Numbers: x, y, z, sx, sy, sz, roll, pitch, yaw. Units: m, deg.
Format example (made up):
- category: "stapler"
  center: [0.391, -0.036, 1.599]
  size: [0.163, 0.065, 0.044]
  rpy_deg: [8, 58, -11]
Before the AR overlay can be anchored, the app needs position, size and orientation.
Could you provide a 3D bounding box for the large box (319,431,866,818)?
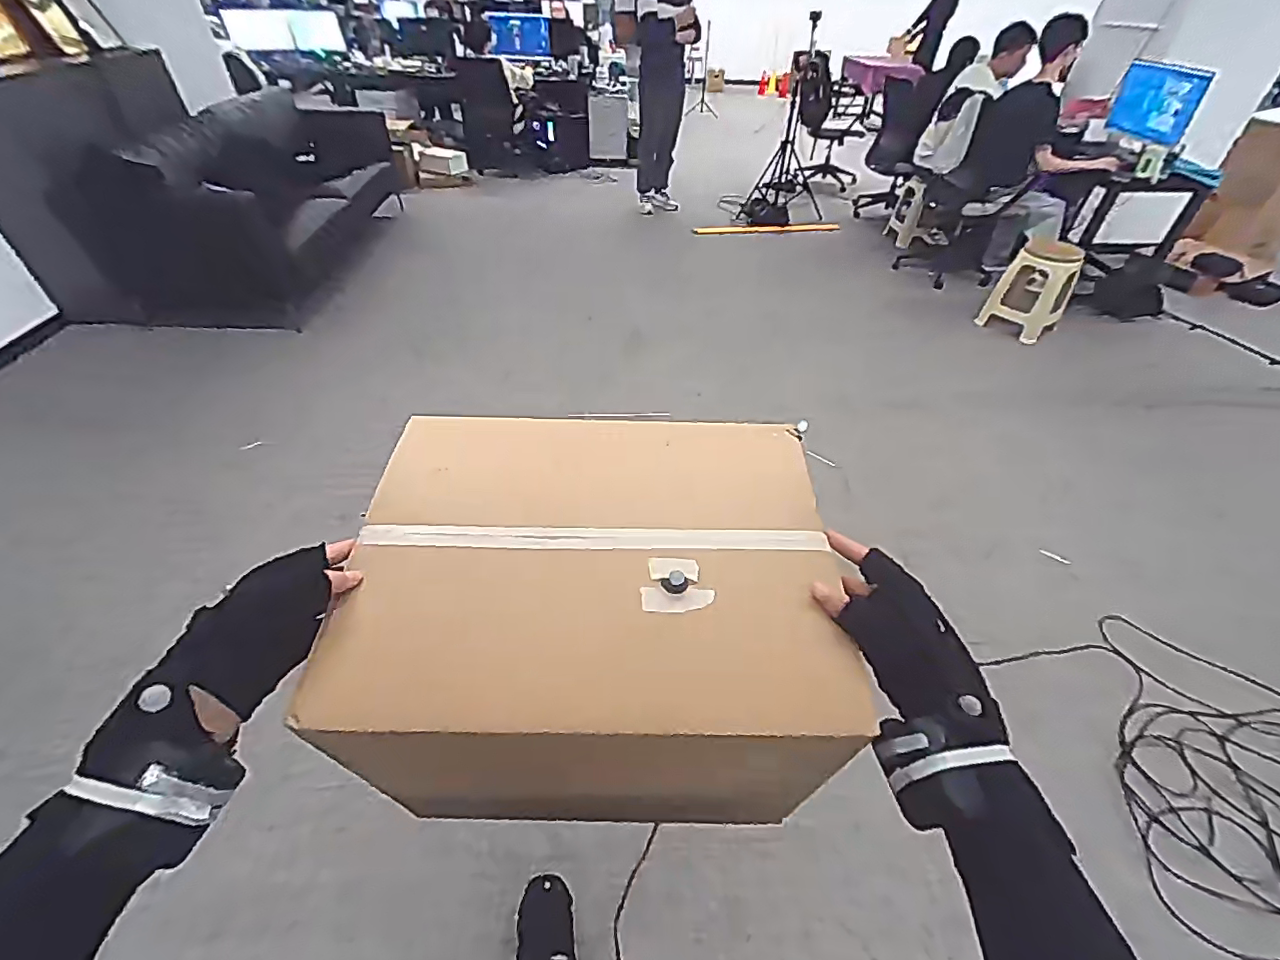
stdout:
- category: "large box"
  center: [-0.038, 0.160, 0.595]
  size: [0.408, 0.320, 0.320]
  rpy_deg: [1, 49, -1]
